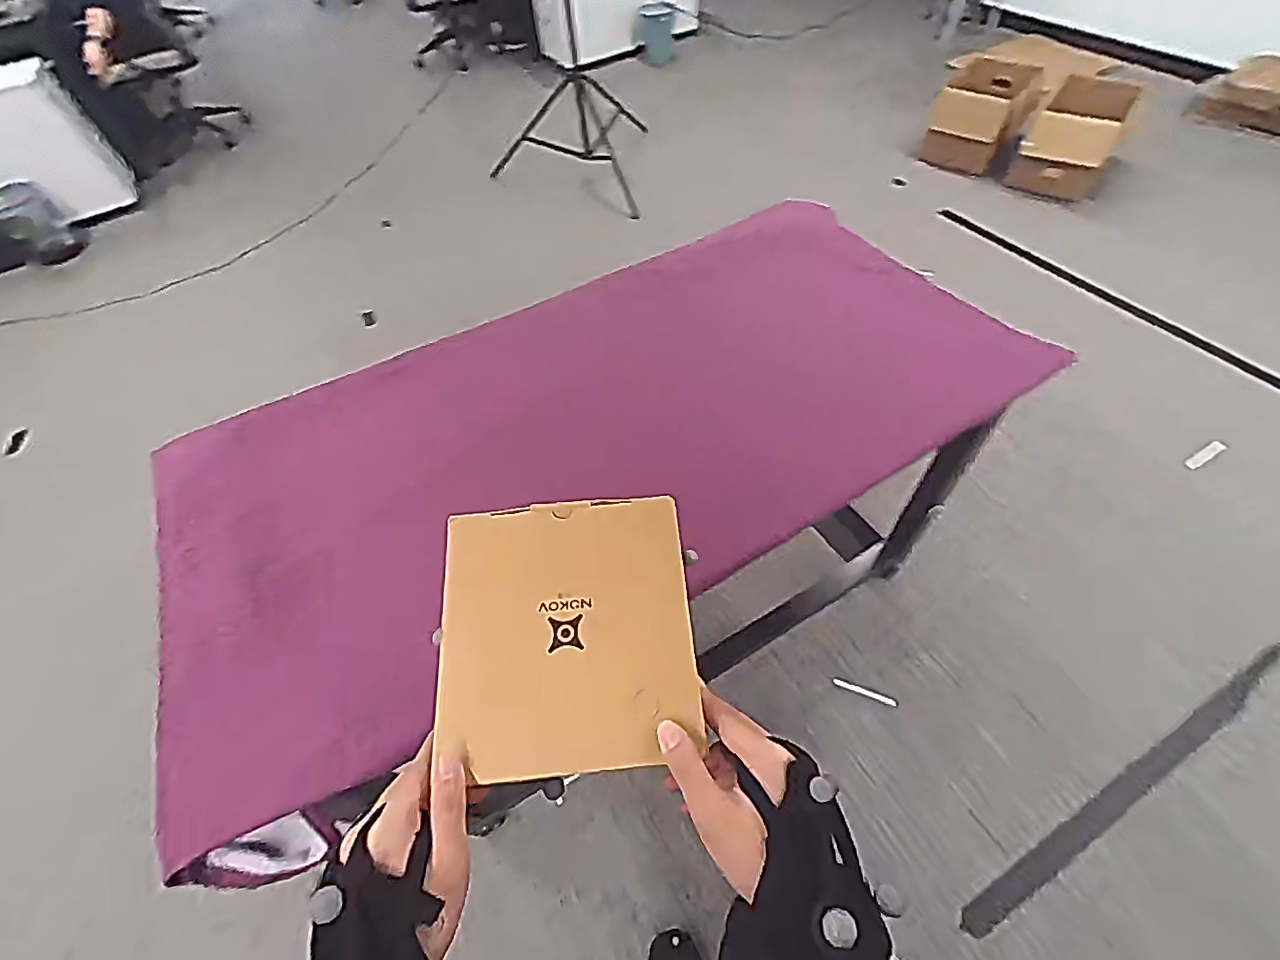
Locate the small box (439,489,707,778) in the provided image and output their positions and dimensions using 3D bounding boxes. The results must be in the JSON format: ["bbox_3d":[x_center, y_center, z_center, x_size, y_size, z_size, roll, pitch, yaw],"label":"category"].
[{"bbox_3d":[-0.043,0.127,0.429,0.168,0.176,0.179,-6,62,-1],"label":"small box"}]
